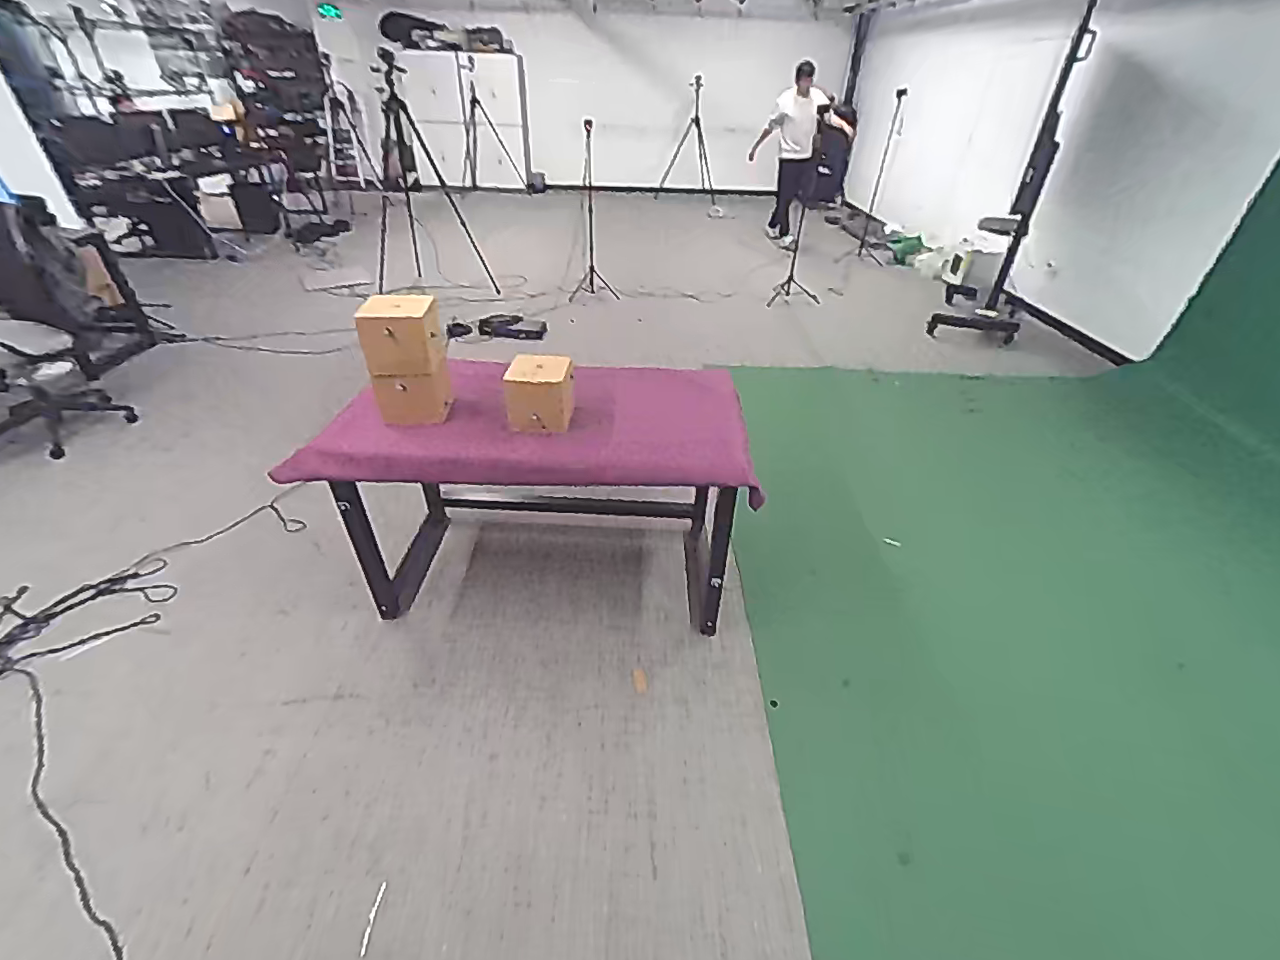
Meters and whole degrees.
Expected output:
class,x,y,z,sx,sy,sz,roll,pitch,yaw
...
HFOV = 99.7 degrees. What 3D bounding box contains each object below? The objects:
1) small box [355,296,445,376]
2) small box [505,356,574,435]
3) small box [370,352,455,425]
class,x,y,z,sx,sy,sz,roll,pitch,yaw
small box,-0.655,-0.399,1.503,0.179,0.176,0.168,-2,38,-5
small box,-0.288,-0.250,1.589,0.168,0.176,0.179,3,36,2
small box,-0.665,-0.272,1.602,0.179,0.176,0.168,0,37,-4
